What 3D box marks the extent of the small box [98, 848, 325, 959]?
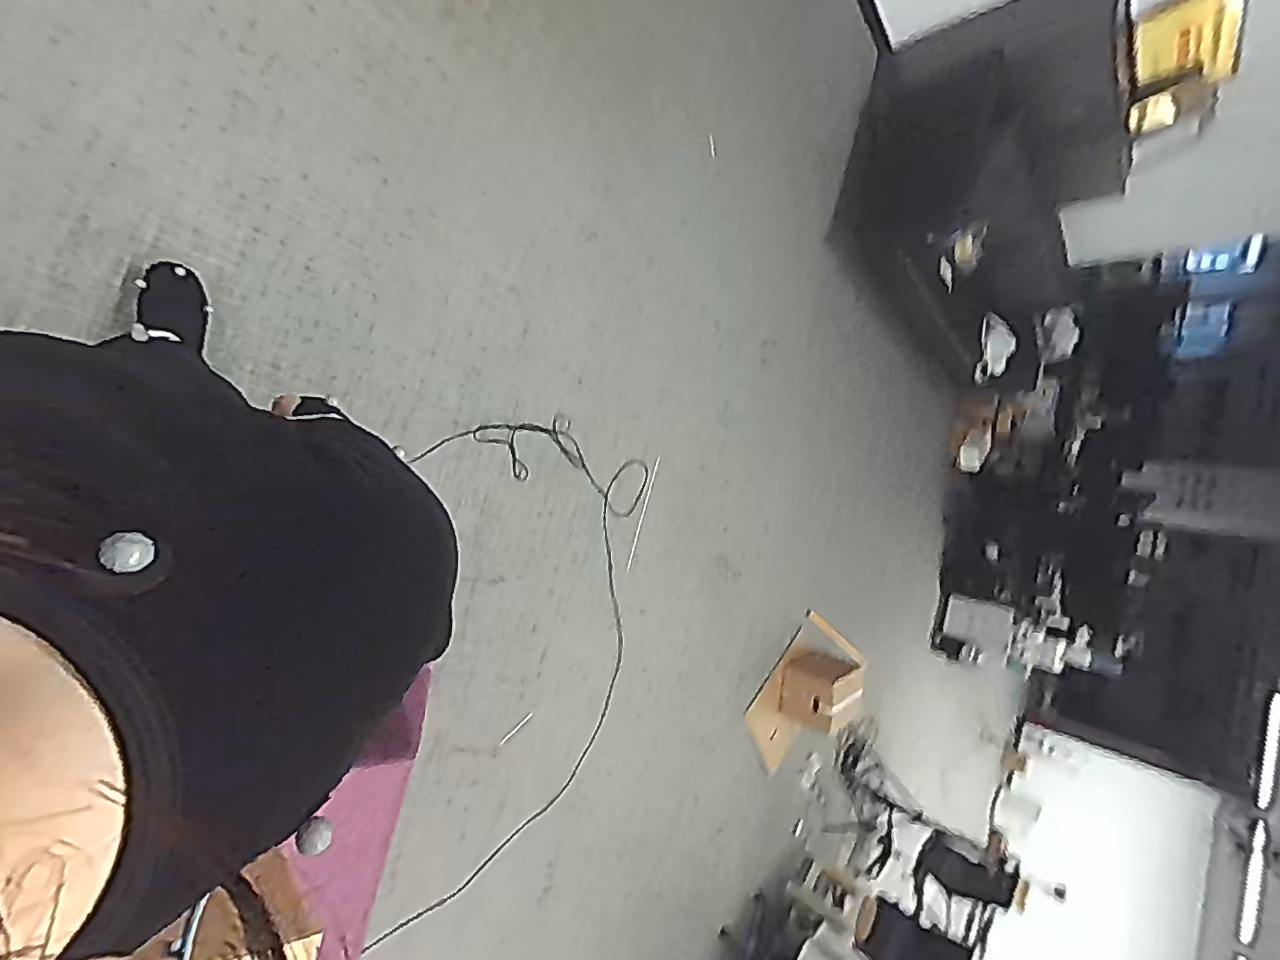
[{"bbox_3d":[-0.503,0.566,0.623,0.179,0.176,0.168,21,83,-43],"label":"small box"}]
